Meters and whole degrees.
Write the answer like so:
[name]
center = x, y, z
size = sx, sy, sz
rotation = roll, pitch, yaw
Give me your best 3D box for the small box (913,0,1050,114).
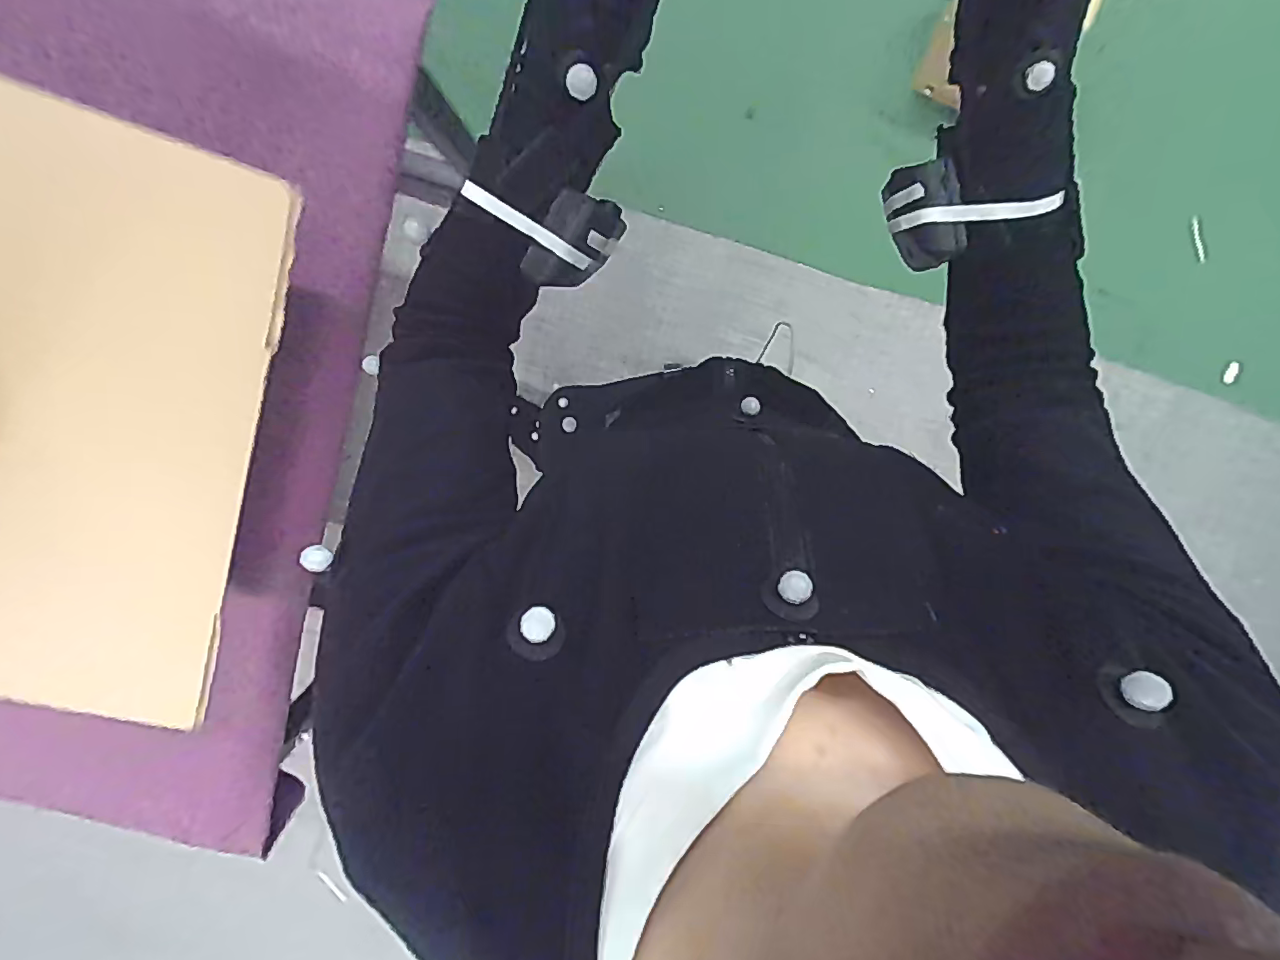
[small box]
center = 0.744, -0.962, 1.203
size = 0.168, 0.176, 0.179
rotation = 18, 100, -6
